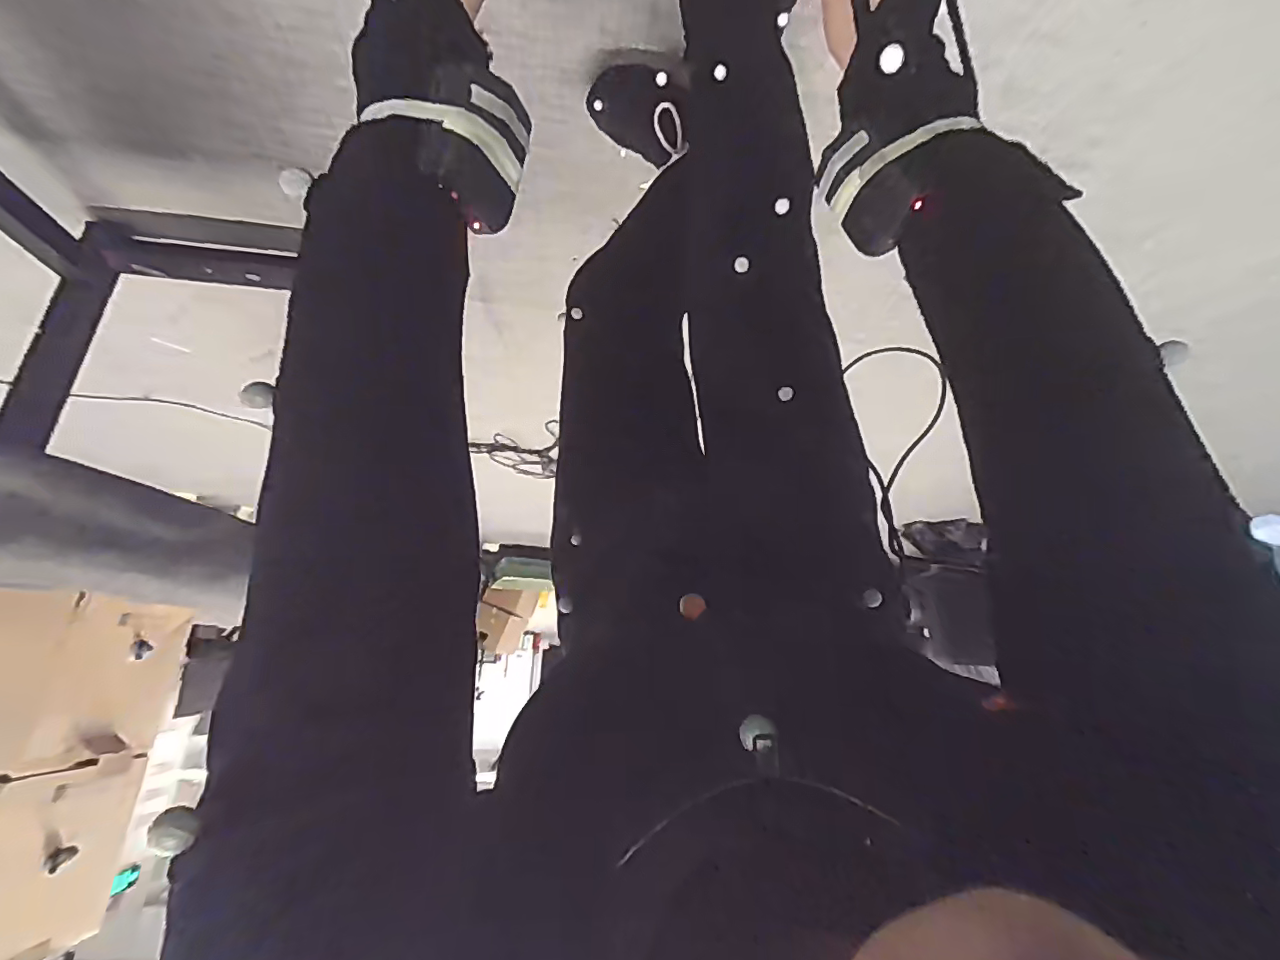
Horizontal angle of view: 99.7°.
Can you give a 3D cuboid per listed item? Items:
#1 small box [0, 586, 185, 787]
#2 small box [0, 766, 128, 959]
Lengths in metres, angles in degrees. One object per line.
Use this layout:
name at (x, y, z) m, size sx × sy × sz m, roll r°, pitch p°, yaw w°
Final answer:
small box at (-0.626, 0.204, 0.551) m, size 0.179 × 0.176 × 0.168 m, roll 3°, pitch 160°, yaw -4°
small box at (-0.626, 0.357, 0.491) m, size 0.179 × 0.176 × 0.168 m, roll 1°, pitch 160°, yaw -3°
